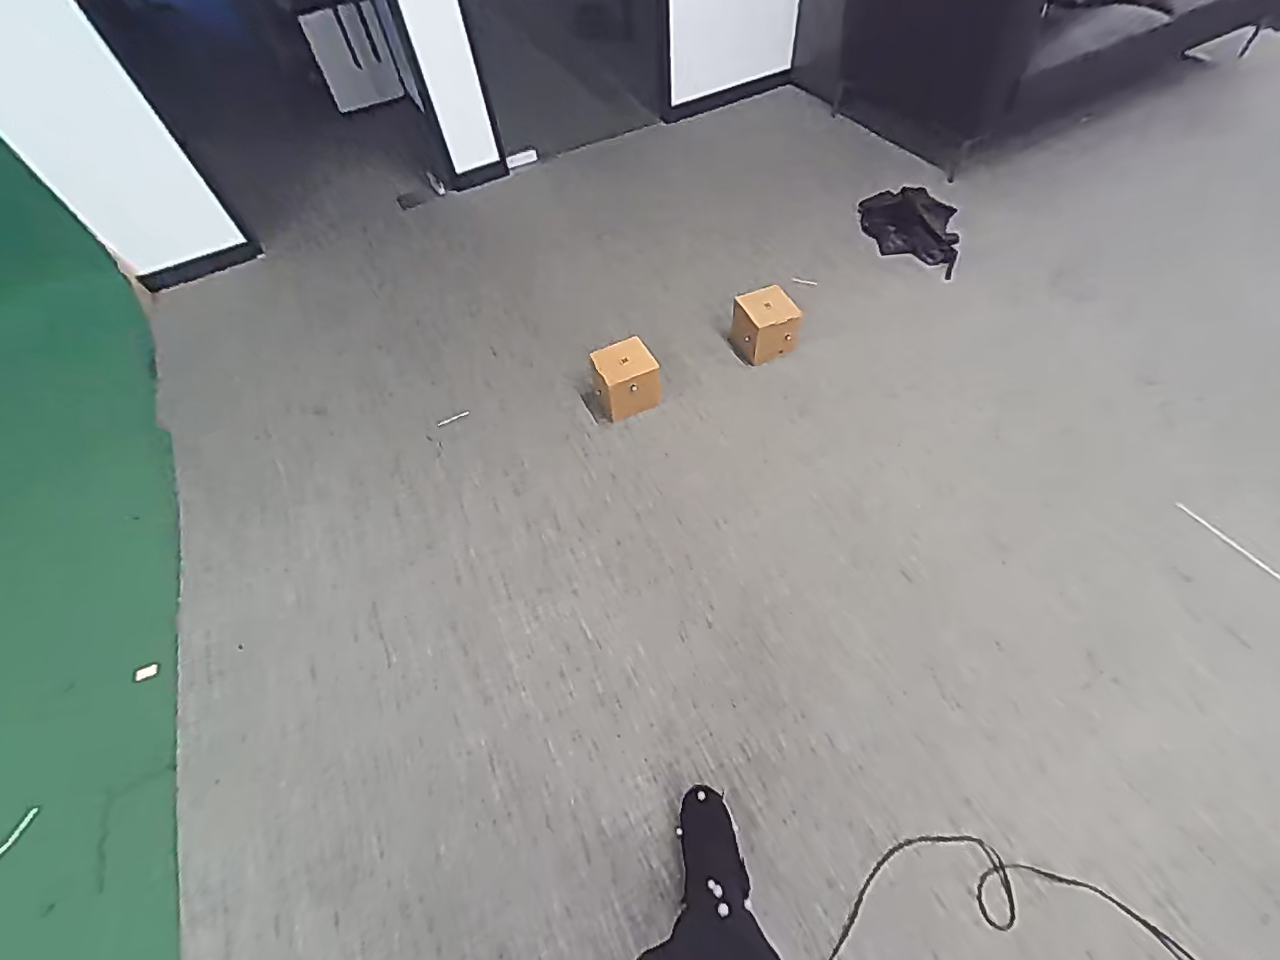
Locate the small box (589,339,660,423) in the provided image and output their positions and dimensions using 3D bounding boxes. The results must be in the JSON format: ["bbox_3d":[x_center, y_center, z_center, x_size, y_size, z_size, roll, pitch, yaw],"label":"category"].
[{"bbox_3d":[-0.047,-0.318,1.747,0.179,0.176,0.168,-24,57,-11],"label":"small box"}]

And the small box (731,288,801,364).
[{"bbox_3d":[0.424,-0.520,1.850,0.168,0.176,0.179,-20,55,-11],"label":"small box"}]
